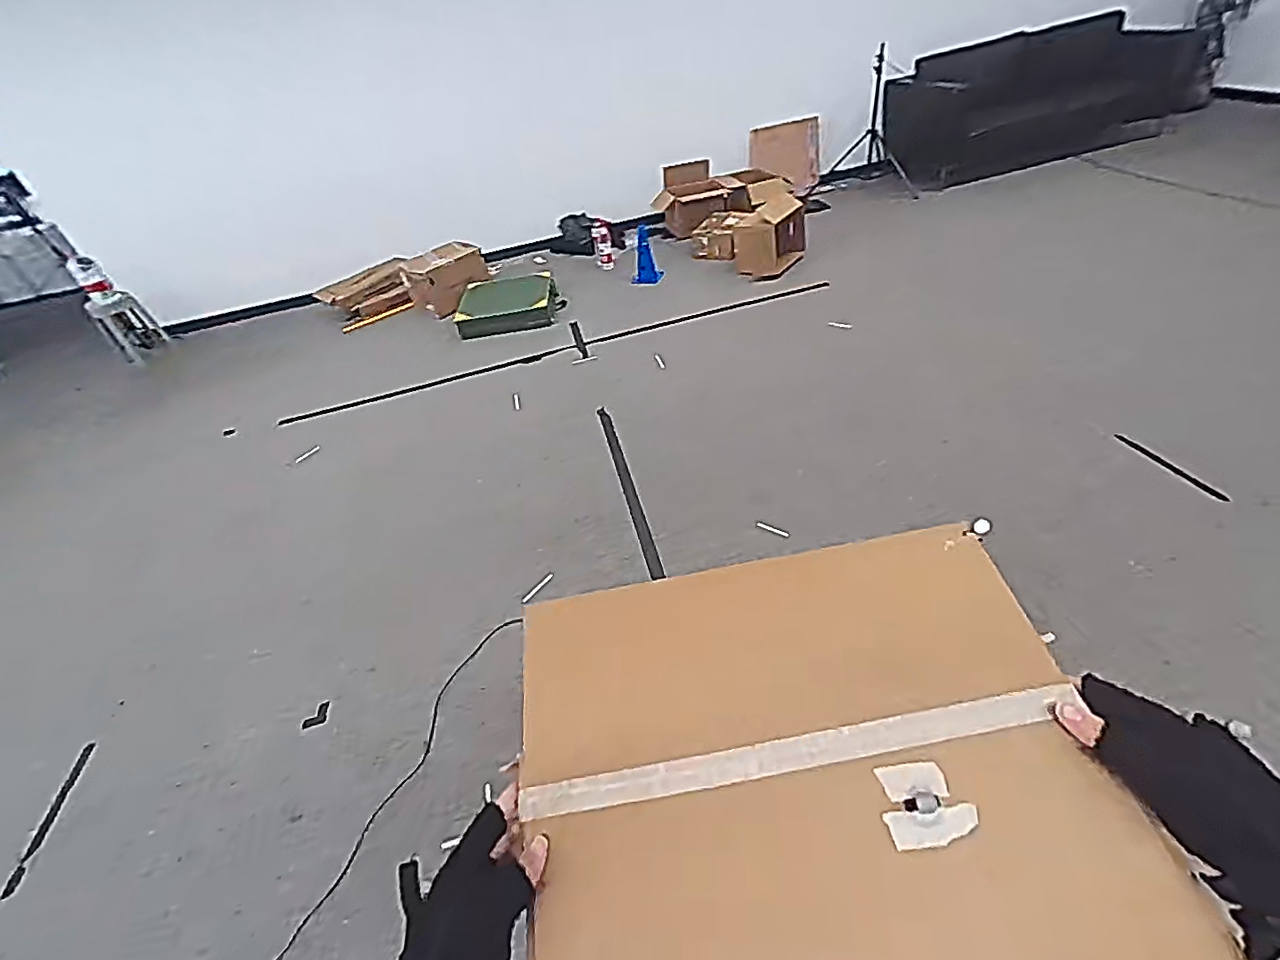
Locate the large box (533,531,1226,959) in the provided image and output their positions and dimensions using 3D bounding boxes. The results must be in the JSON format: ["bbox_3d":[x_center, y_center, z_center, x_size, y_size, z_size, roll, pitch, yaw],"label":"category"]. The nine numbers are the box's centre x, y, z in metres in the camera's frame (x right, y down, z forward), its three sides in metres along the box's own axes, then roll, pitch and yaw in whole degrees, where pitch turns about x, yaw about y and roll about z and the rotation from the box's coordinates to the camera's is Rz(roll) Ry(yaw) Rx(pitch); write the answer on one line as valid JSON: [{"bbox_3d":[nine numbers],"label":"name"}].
[{"bbox_3d":[0.137,0.295,0.515,0.408,0.320,0.320,-11,52,-1],"label":"large box"}]
